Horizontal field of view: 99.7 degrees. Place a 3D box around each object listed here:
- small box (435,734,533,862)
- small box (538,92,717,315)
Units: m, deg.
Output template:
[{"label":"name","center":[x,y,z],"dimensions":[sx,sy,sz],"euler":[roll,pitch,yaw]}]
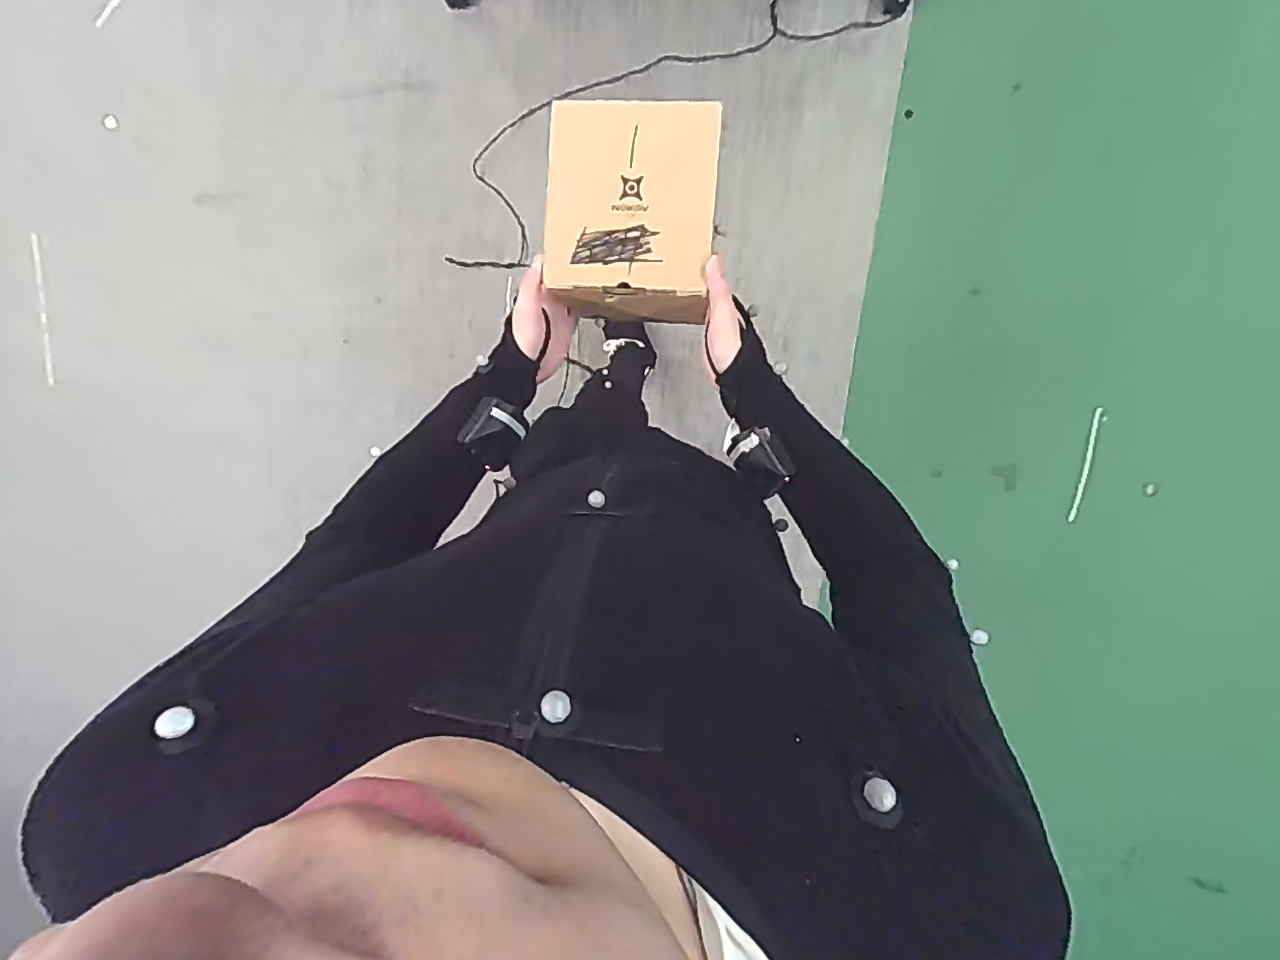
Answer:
[{"label":"small box","center":[-0.359,0.737,1.267],"dimensions":[0.168,0.176,0.179],"euler":[10,101,4]},{"label":"small box","center":[-0.004,-0.285,0.594],"dimensions":[0.168,0.176,0.179],"euler":[5,96,7]}]
